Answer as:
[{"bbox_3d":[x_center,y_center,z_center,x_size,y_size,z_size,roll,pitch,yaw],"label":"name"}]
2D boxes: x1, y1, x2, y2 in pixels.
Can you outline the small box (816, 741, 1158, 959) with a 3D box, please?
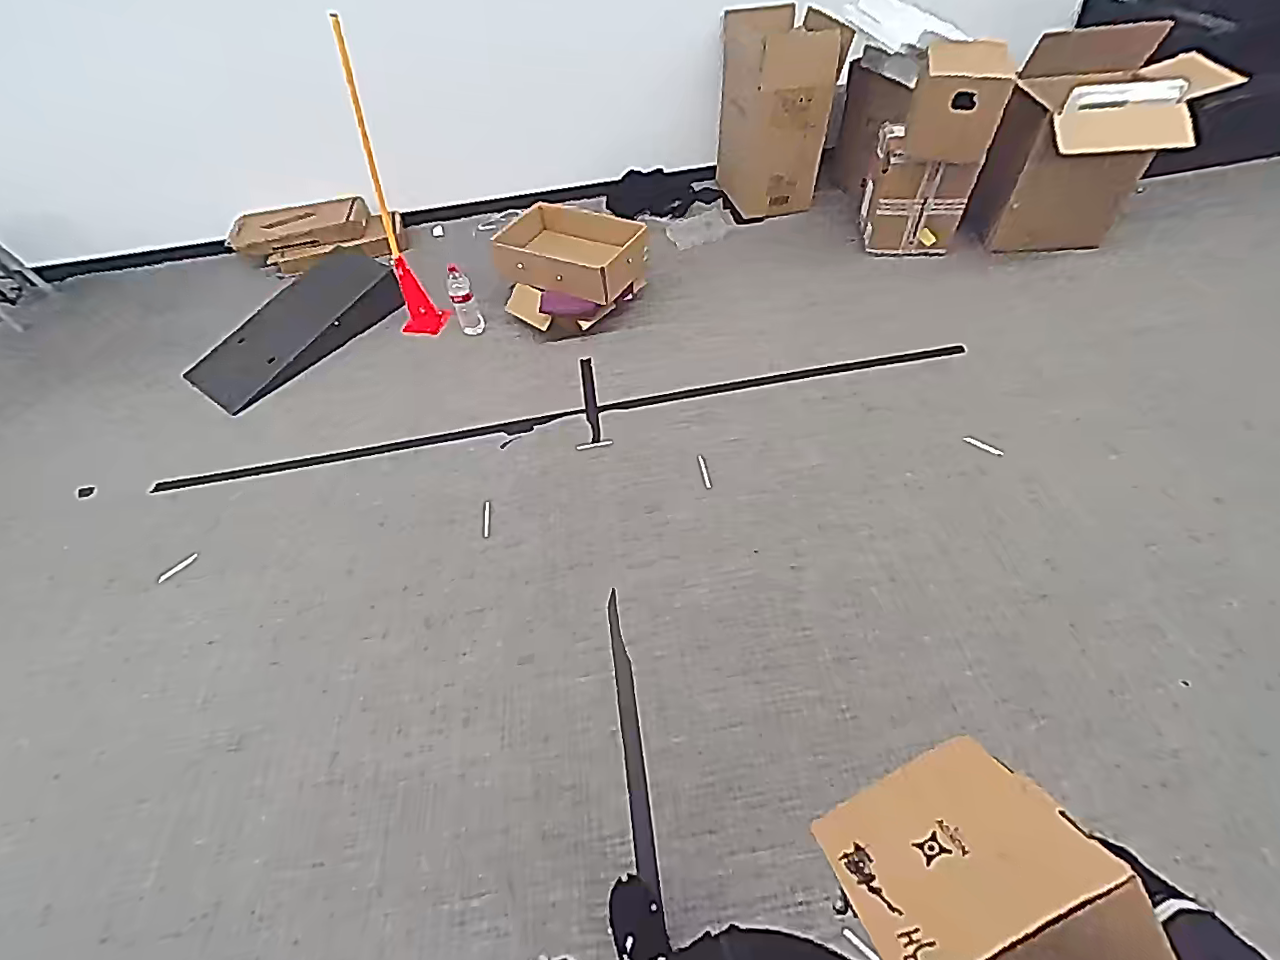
[{"bbox_3d":[0.287,0.372,0.454,0.179,0.168,0.176,-29,96,-1],"label":"small box"}]
